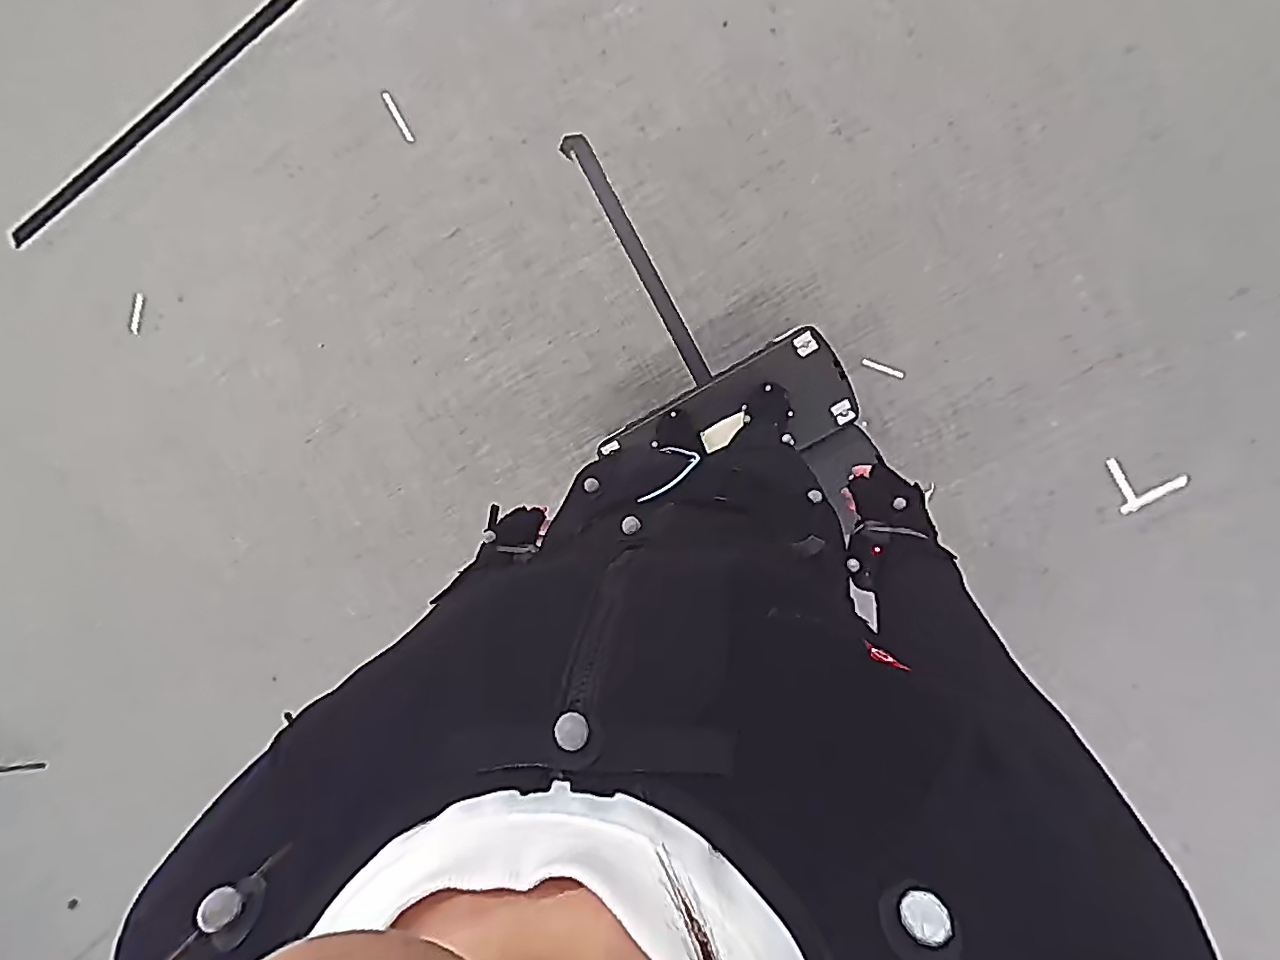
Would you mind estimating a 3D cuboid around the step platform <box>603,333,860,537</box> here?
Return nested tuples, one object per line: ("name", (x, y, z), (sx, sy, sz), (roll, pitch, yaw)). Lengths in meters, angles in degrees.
("step platform", (0.236, -0.116, 1.493), (0.684, 0.204, 0.286), (-30, 95, 10))
